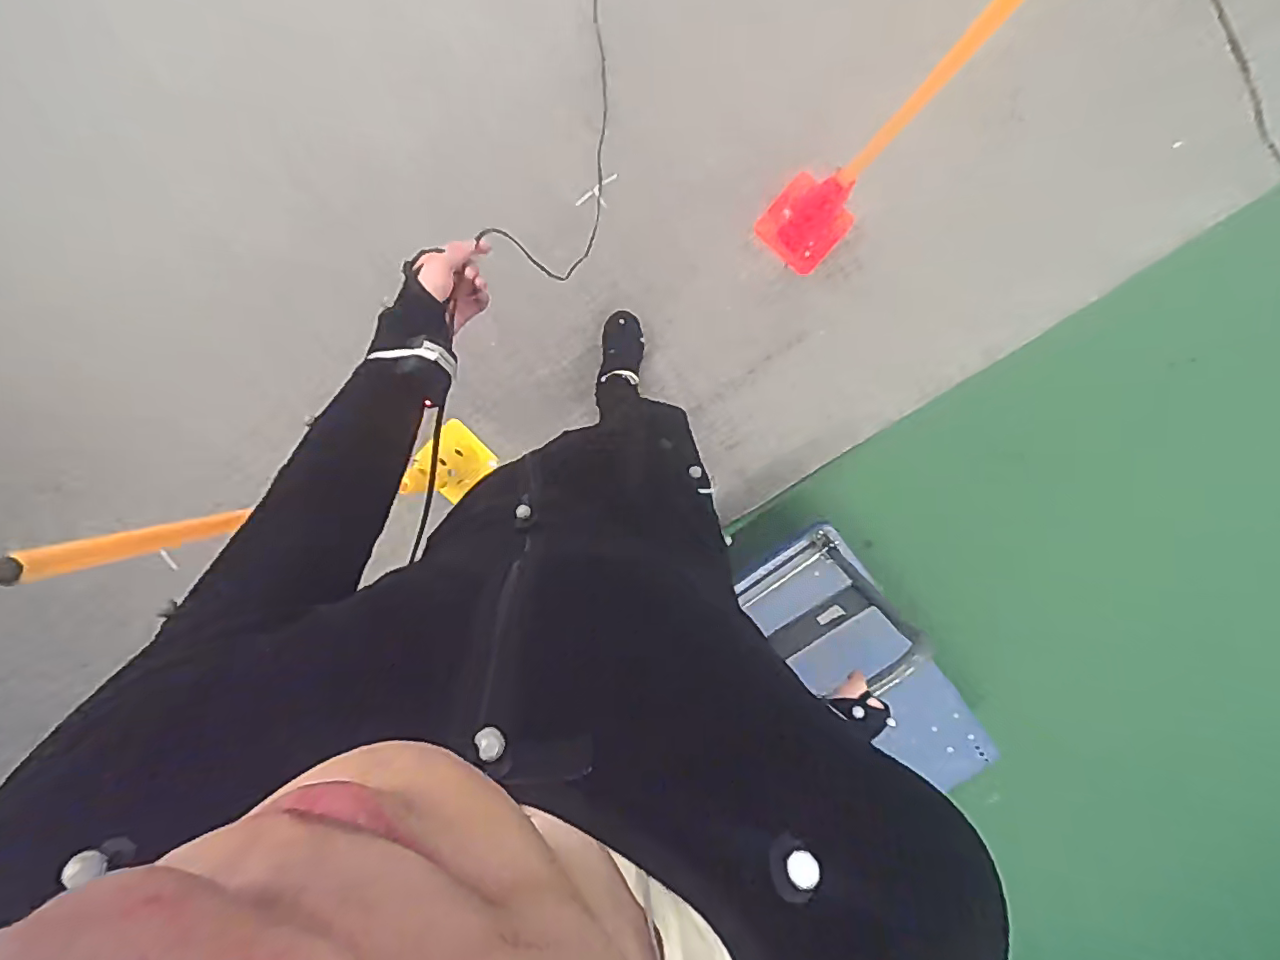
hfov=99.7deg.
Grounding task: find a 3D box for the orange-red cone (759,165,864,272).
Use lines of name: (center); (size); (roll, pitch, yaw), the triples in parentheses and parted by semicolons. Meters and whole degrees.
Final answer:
orange-red cone: (0.442, -0.657, 1.273); (0.198, 0.360, 0.199); (42, 98, -6)
